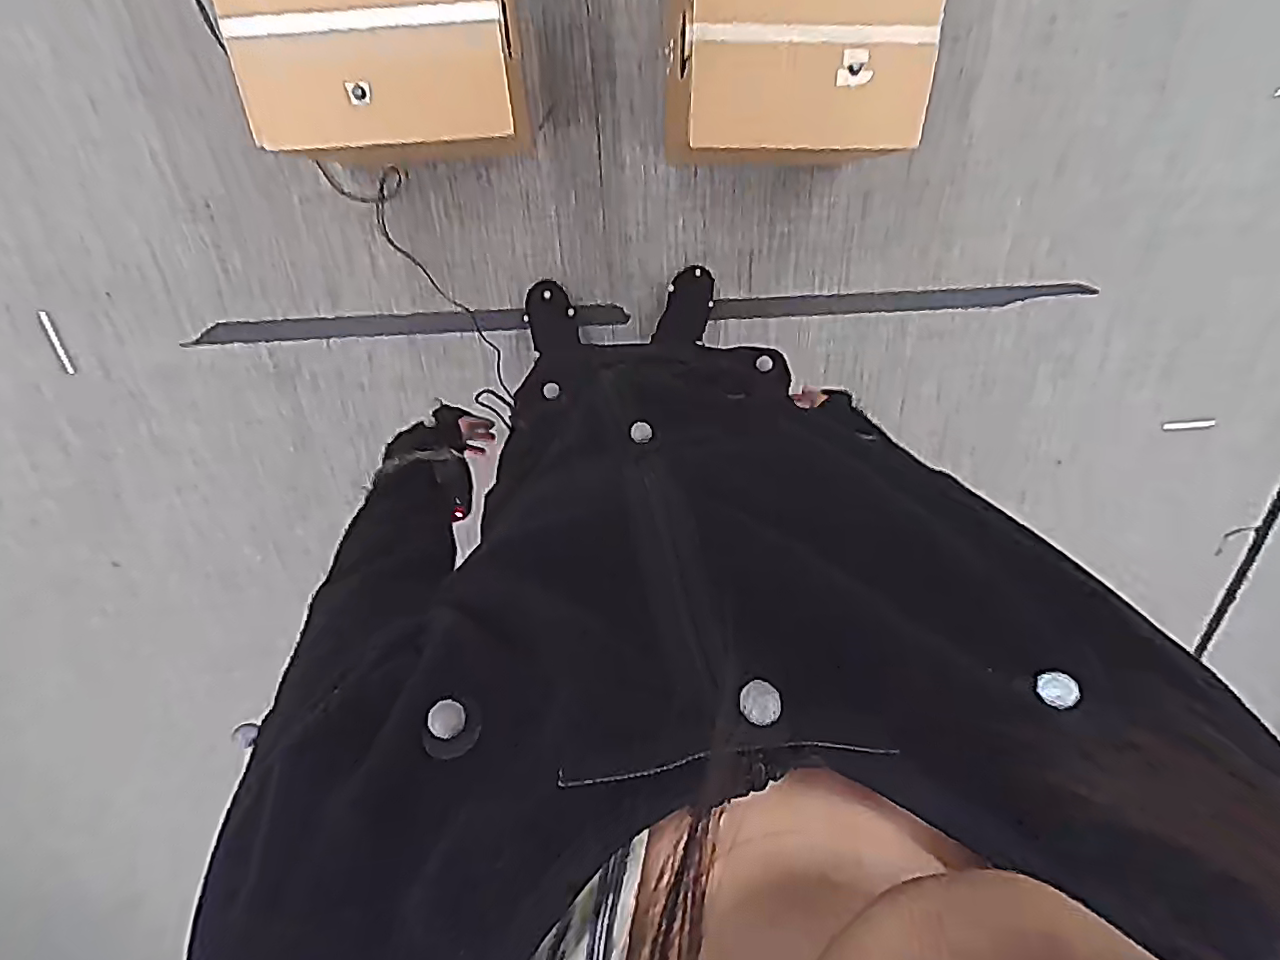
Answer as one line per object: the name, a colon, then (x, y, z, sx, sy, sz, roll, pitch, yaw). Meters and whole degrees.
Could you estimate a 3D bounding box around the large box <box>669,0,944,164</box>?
large box: (0.269, -0.777, 0.996, 0.408, 0.320, 0.320, -2, 116, -5)
